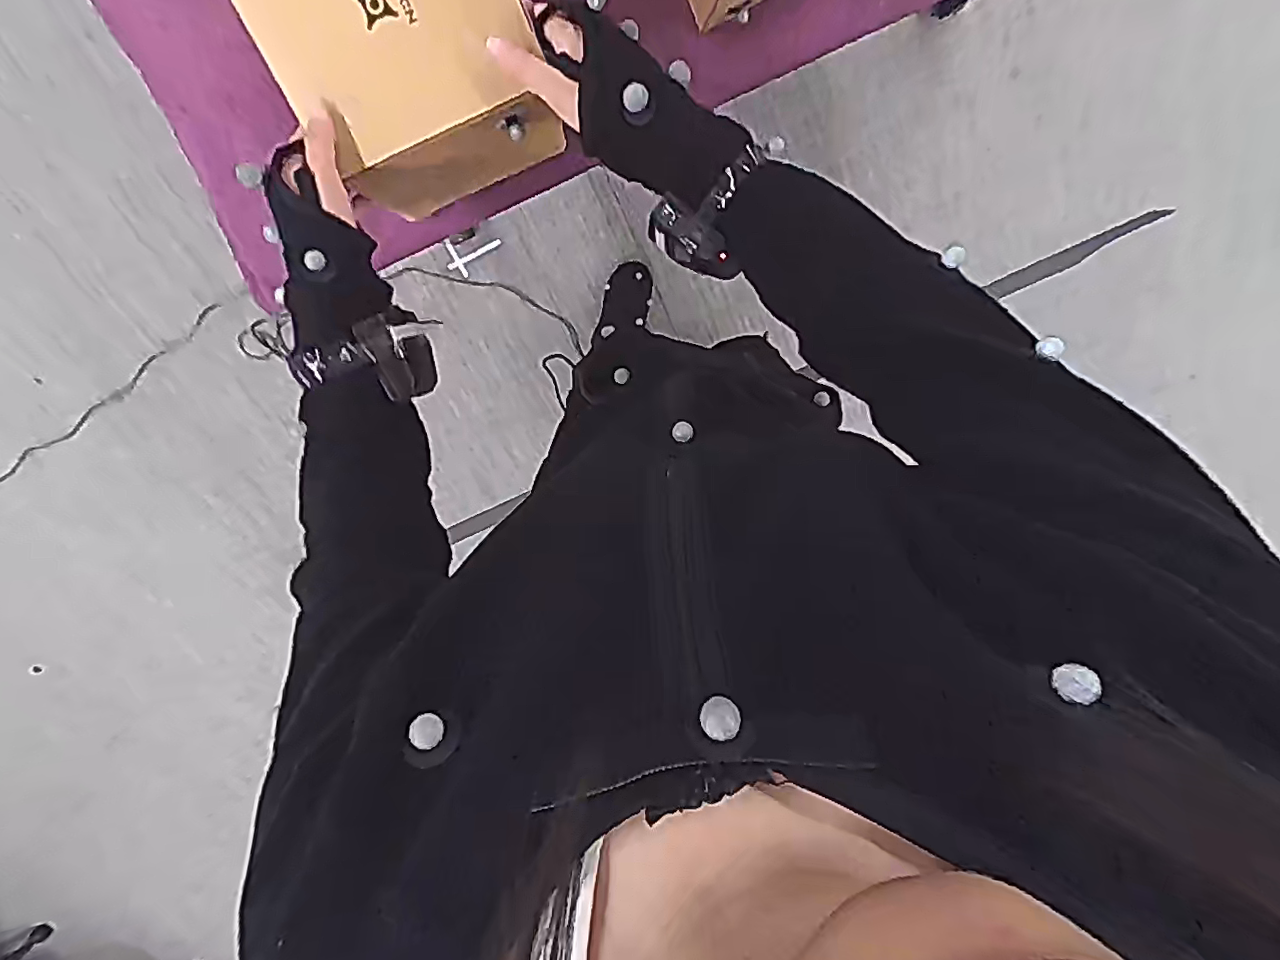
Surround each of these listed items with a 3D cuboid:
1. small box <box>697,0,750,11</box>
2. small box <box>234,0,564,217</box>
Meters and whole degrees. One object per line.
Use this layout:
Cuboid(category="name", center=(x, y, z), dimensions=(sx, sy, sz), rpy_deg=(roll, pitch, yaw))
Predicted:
Cuboid(category="small box", center=(0.103, -0.500, 0.400), dimensions=(0.168, 0.176, 0.179), rpy_deg=(-26, 112, 6))
Cuboid(category="small box", center=(-0.172, -0.333, 0.425), dimensions=(0.179, 0.176, 0.168), rpy_deg=(-25, 107, 1))
